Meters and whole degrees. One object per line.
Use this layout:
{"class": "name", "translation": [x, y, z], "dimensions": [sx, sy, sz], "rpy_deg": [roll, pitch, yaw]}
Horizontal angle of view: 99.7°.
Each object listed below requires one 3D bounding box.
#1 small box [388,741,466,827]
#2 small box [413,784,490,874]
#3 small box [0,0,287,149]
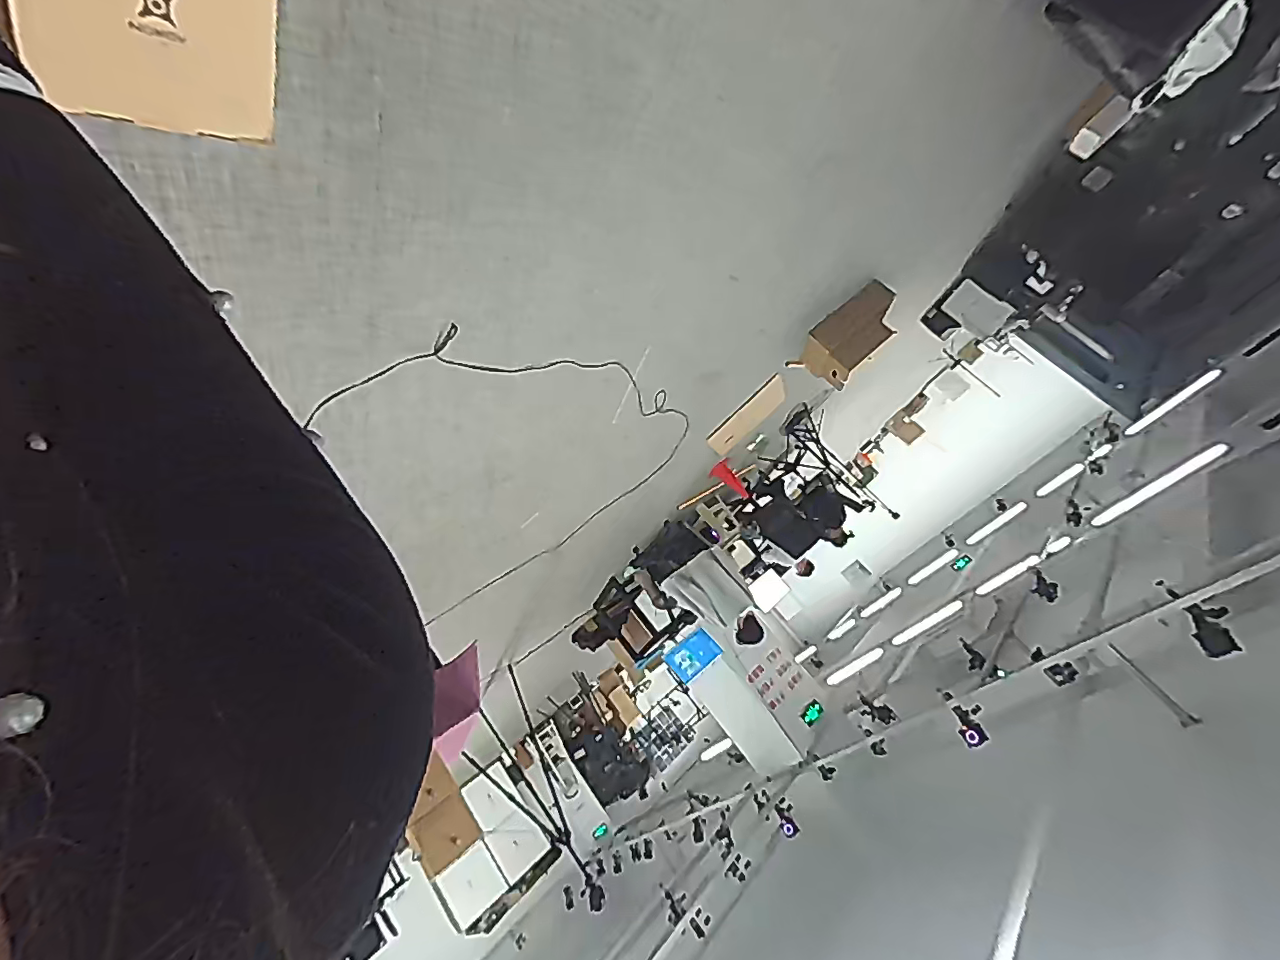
{"class": "small box", "translation": [-0.720, 1.020, 1.824], "dimensions": [0.179, 0.176, 0.168], "rpy_deg": [-24, 156, -41]}
{"class": "small box", "translation": [-0.623, 1.140, 1.772], "dimensions": [0.179, 0.176, 0.168], "rpy_deg": [-26, 158, -41]}
{"class": "small box", "translation": [-0.416, -0.416, 0.441], "dimensions": [0.168, 0.176, 0.179], "rpy_deg": [-22, 153, -48]}
